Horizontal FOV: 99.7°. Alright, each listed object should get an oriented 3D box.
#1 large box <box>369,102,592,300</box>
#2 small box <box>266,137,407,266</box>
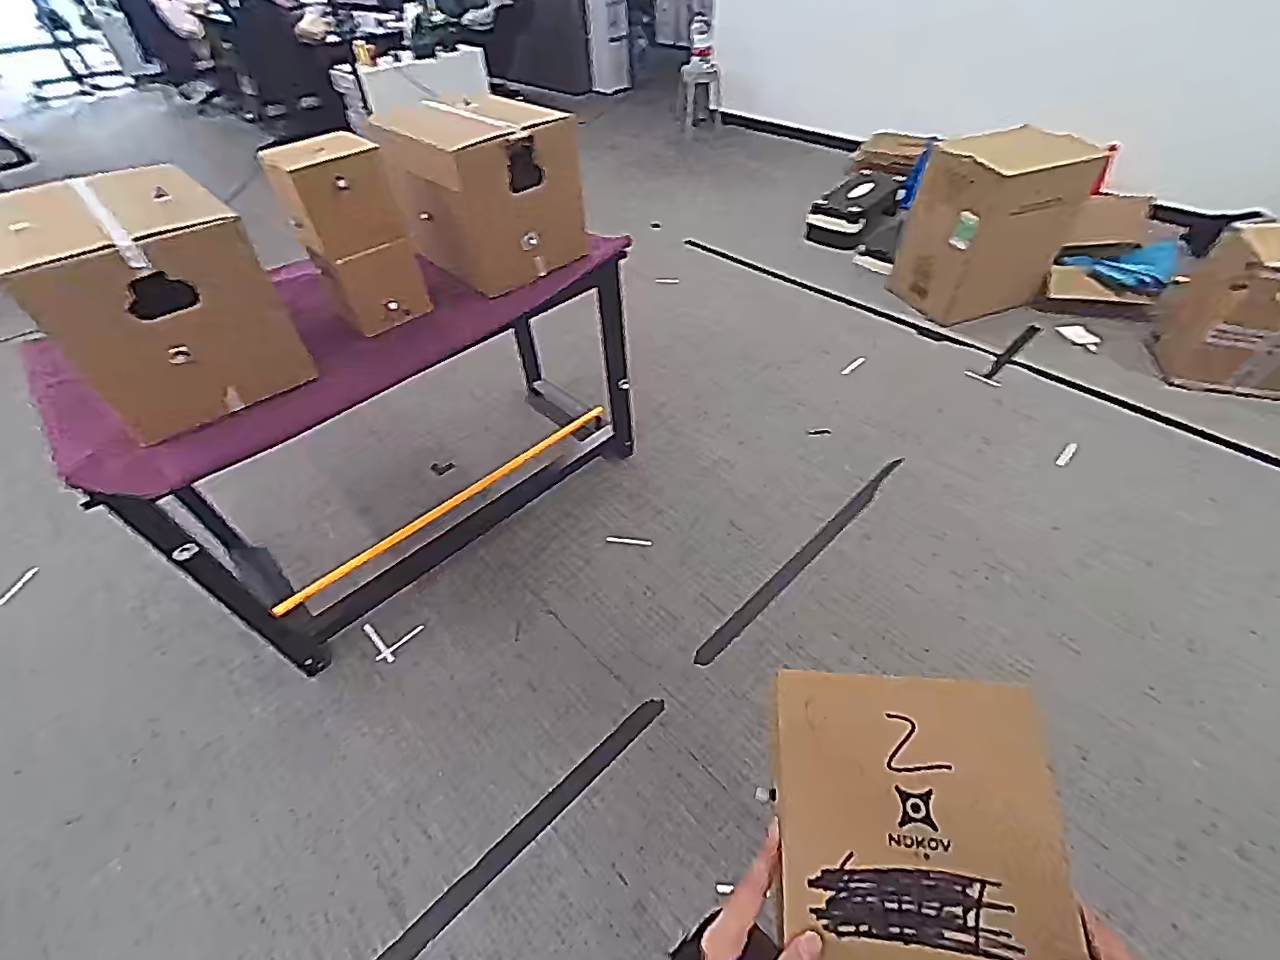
[{"bbox_3d":[-0.375,-0.692,1.329,0.320,0.320,0.408,-37,54,-27],"label":"large box"},{"bbox_3d":[-0.597,-0.560,1.089,0.179,0.176,0.168,-37,55,-25],"label":"small box"}]
